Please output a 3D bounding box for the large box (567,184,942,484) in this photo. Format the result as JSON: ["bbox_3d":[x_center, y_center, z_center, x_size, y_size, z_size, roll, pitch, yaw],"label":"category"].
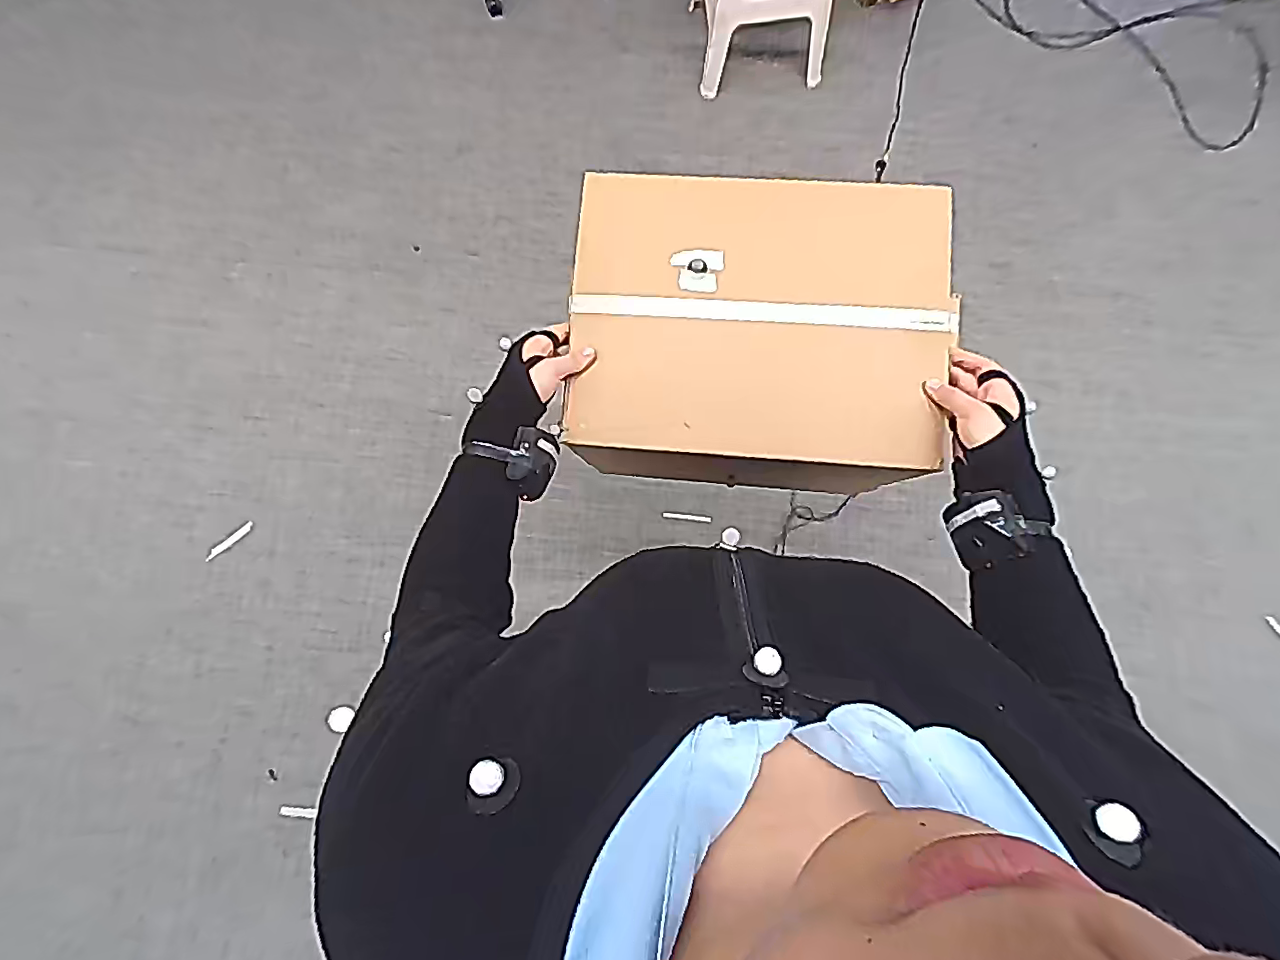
[{"bbox_3d":[0.140,-0.167,0.742,0.408,0.320,0.320,4,83,6],"label":"large box"}]
